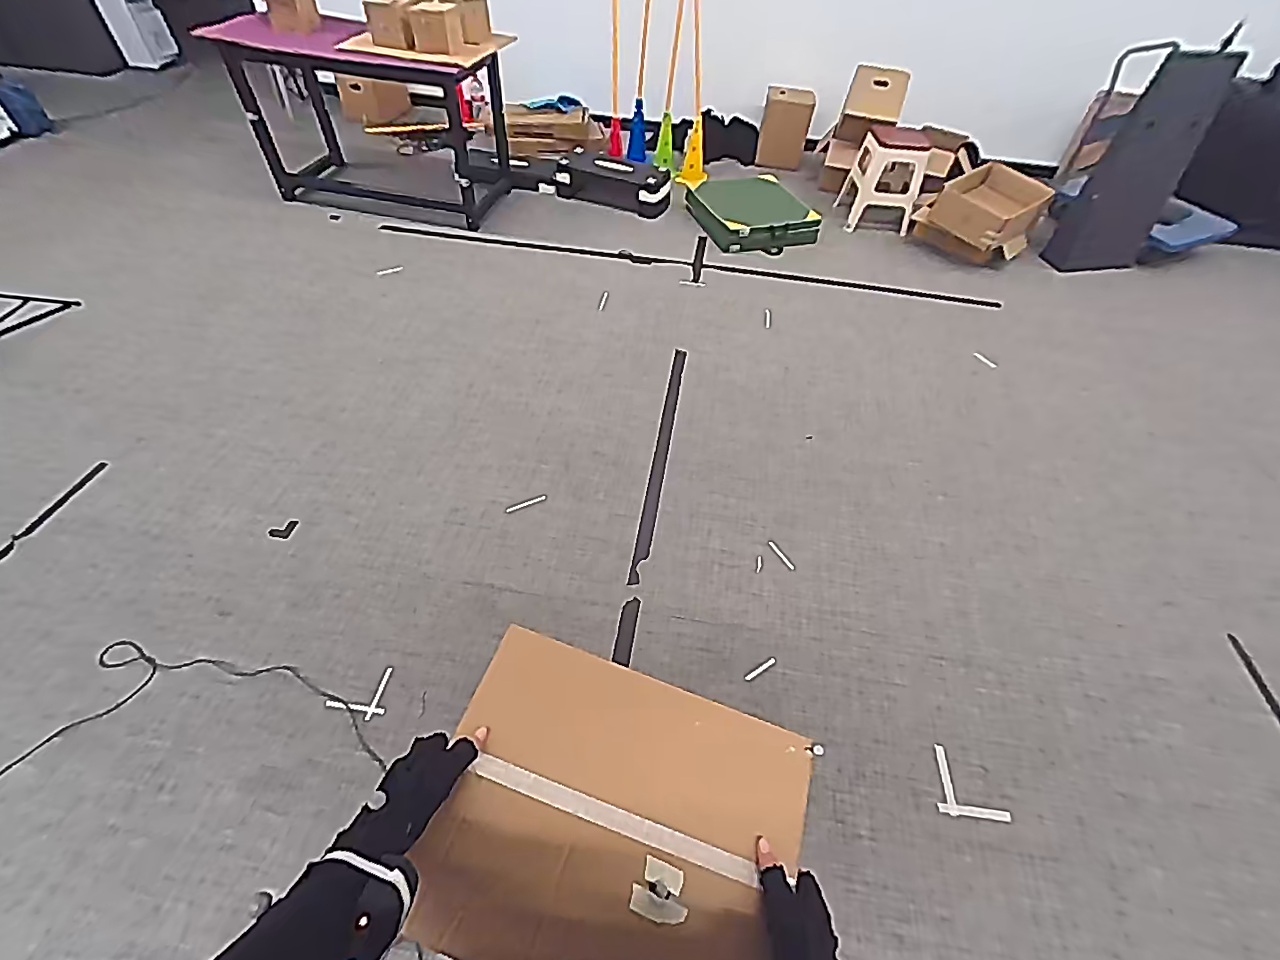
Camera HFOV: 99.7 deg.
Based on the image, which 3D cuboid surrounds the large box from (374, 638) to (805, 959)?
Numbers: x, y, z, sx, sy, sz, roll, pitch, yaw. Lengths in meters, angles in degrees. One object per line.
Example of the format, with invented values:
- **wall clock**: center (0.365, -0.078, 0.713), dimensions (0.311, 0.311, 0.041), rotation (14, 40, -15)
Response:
- **large box**: center (-0.049, 0.464, 0.714), dimensions (0.408, 0.320, 0.320), rotation (20, 55, 5)
